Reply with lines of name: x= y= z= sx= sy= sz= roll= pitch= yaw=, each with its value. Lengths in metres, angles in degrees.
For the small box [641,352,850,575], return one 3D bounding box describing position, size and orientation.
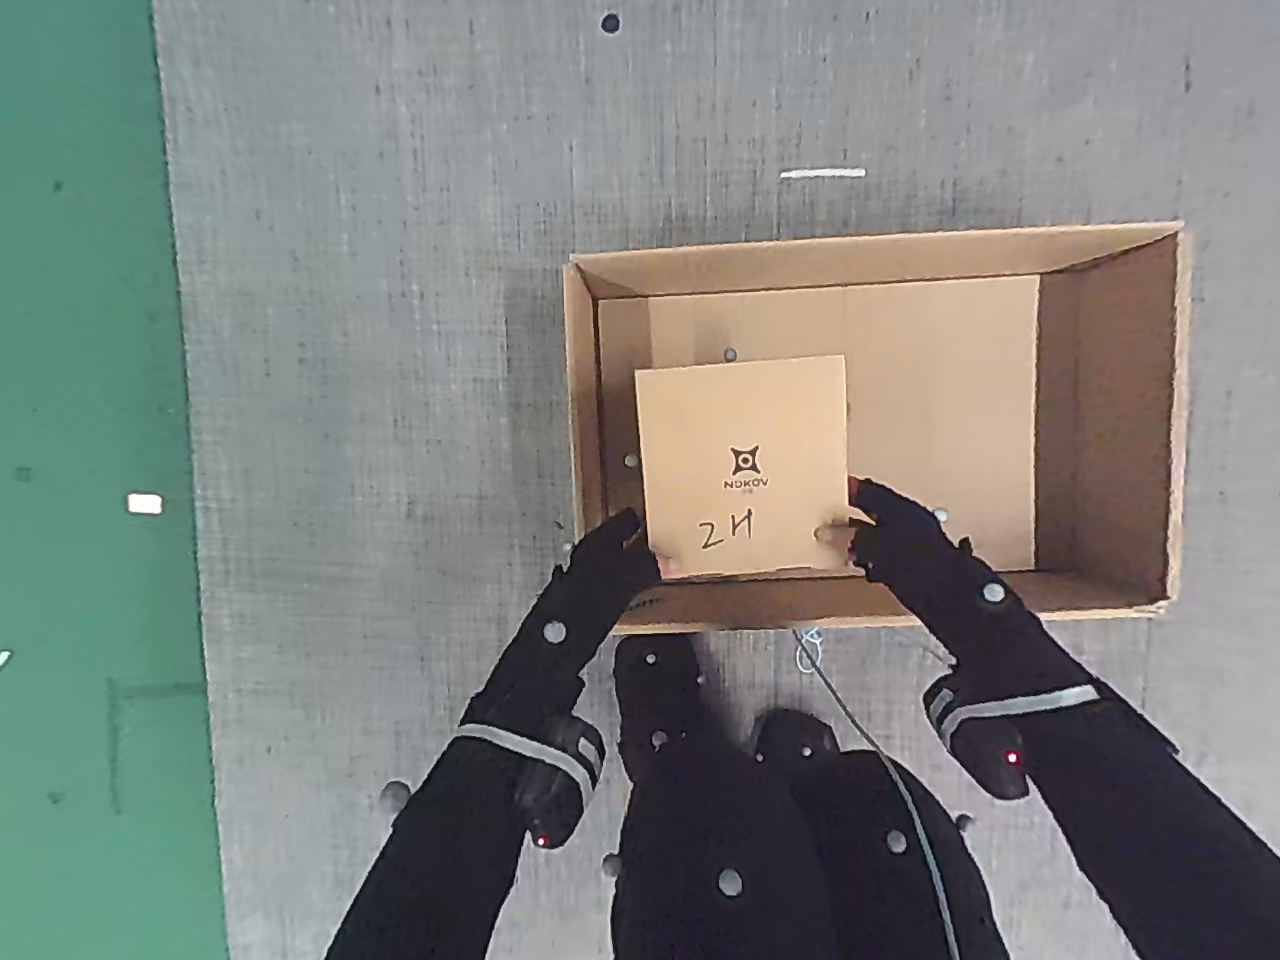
small box: x=0.087 y=-0.023 z=0.514 sx=0.168 sy=0.176 sz=0.179 roll=-4 pitch=101 yaw=2
